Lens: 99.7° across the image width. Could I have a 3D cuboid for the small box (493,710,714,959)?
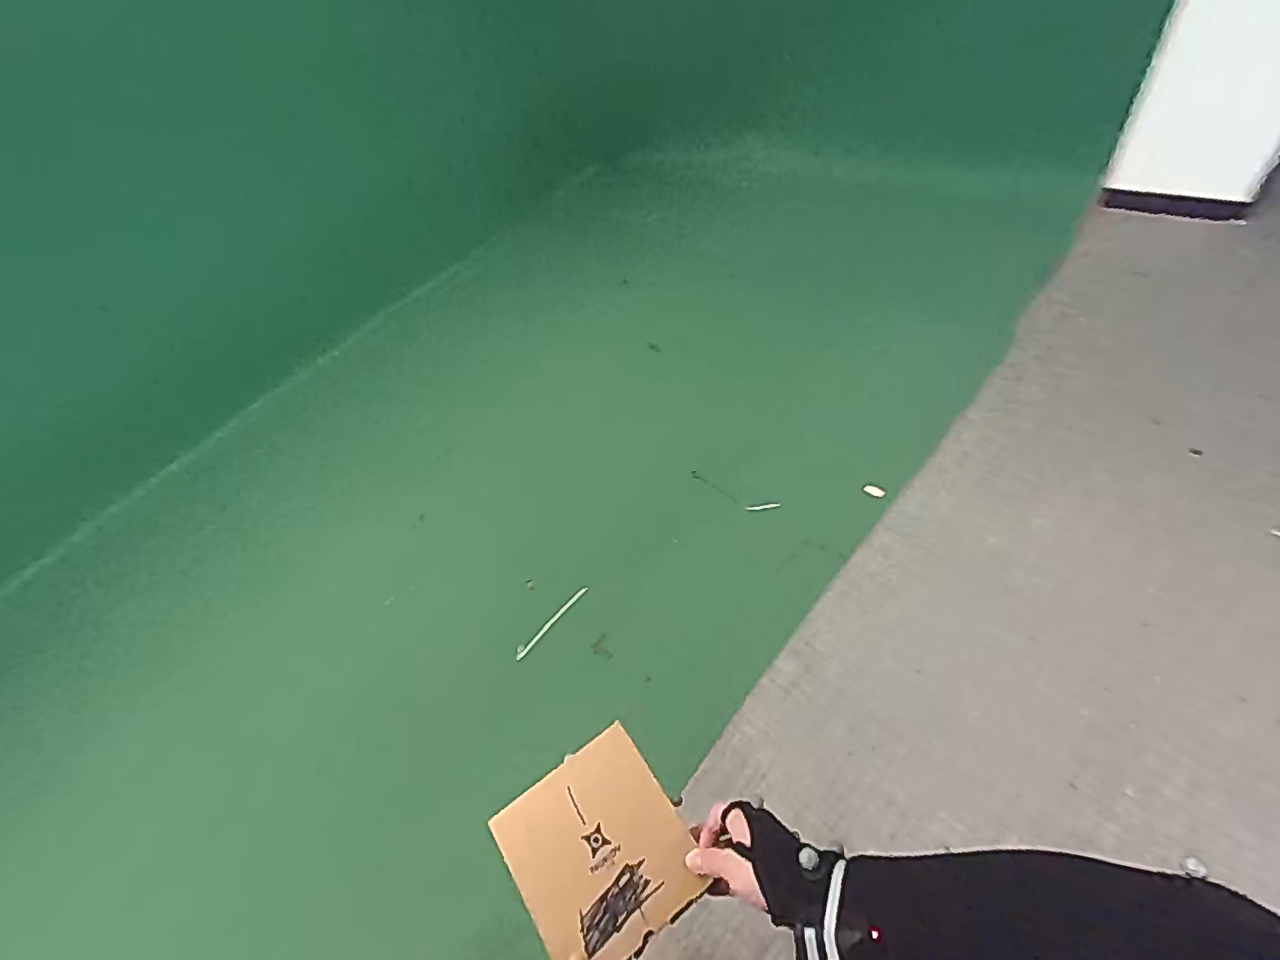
[{"bbox_3d":[-0.036,0.391,0.610,0.168,0.176,0.179,-30,64,-15],"label":"small box"}]
